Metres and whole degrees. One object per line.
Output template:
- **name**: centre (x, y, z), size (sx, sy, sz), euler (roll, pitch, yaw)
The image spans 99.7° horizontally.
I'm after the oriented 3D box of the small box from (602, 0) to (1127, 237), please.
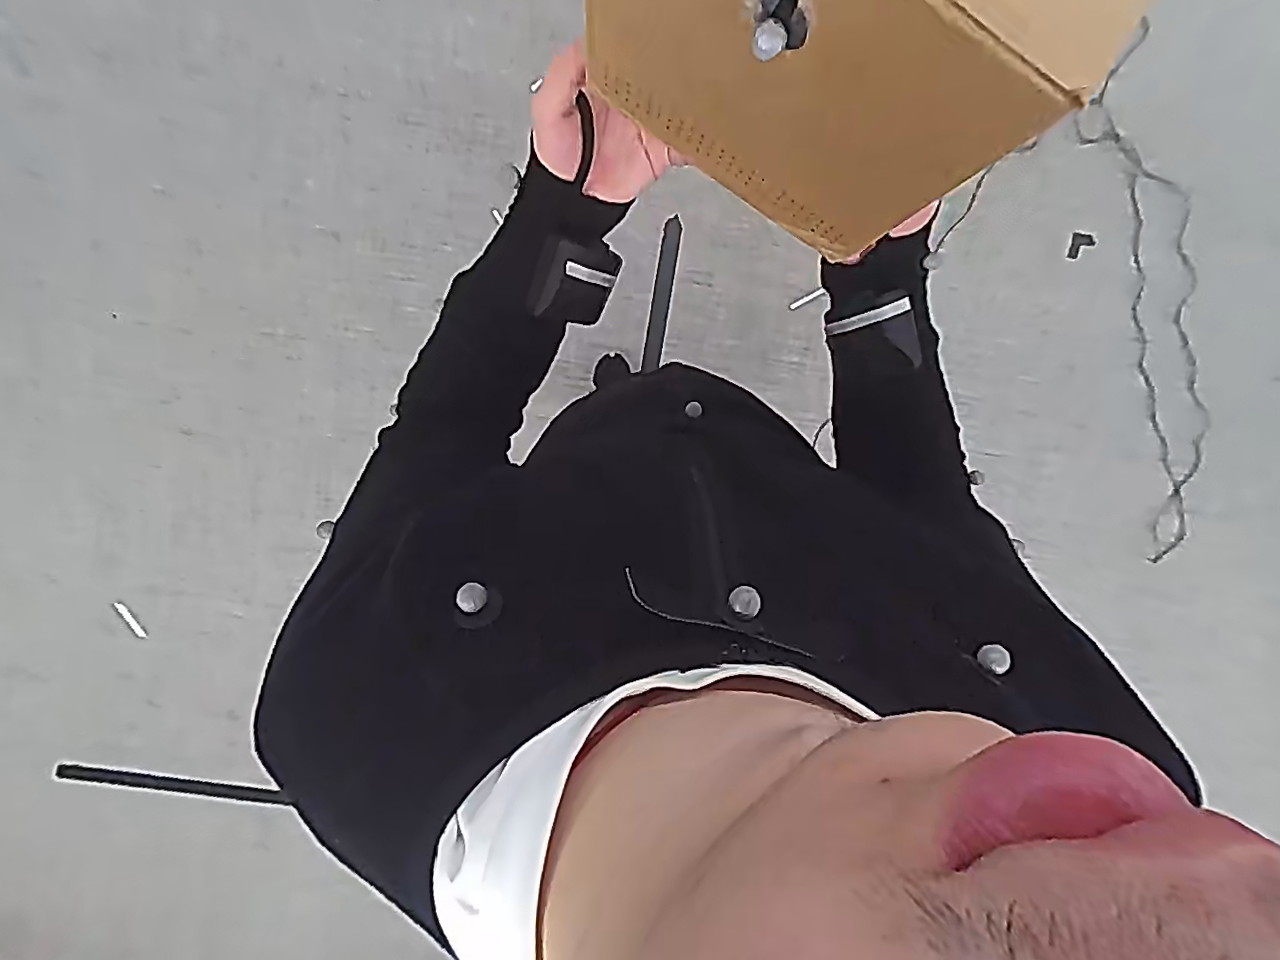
- **small box**: centre (0.094, -0.239, 0.234), size (0.179, 0.176, 0.168), euler (31, 94, -8)
